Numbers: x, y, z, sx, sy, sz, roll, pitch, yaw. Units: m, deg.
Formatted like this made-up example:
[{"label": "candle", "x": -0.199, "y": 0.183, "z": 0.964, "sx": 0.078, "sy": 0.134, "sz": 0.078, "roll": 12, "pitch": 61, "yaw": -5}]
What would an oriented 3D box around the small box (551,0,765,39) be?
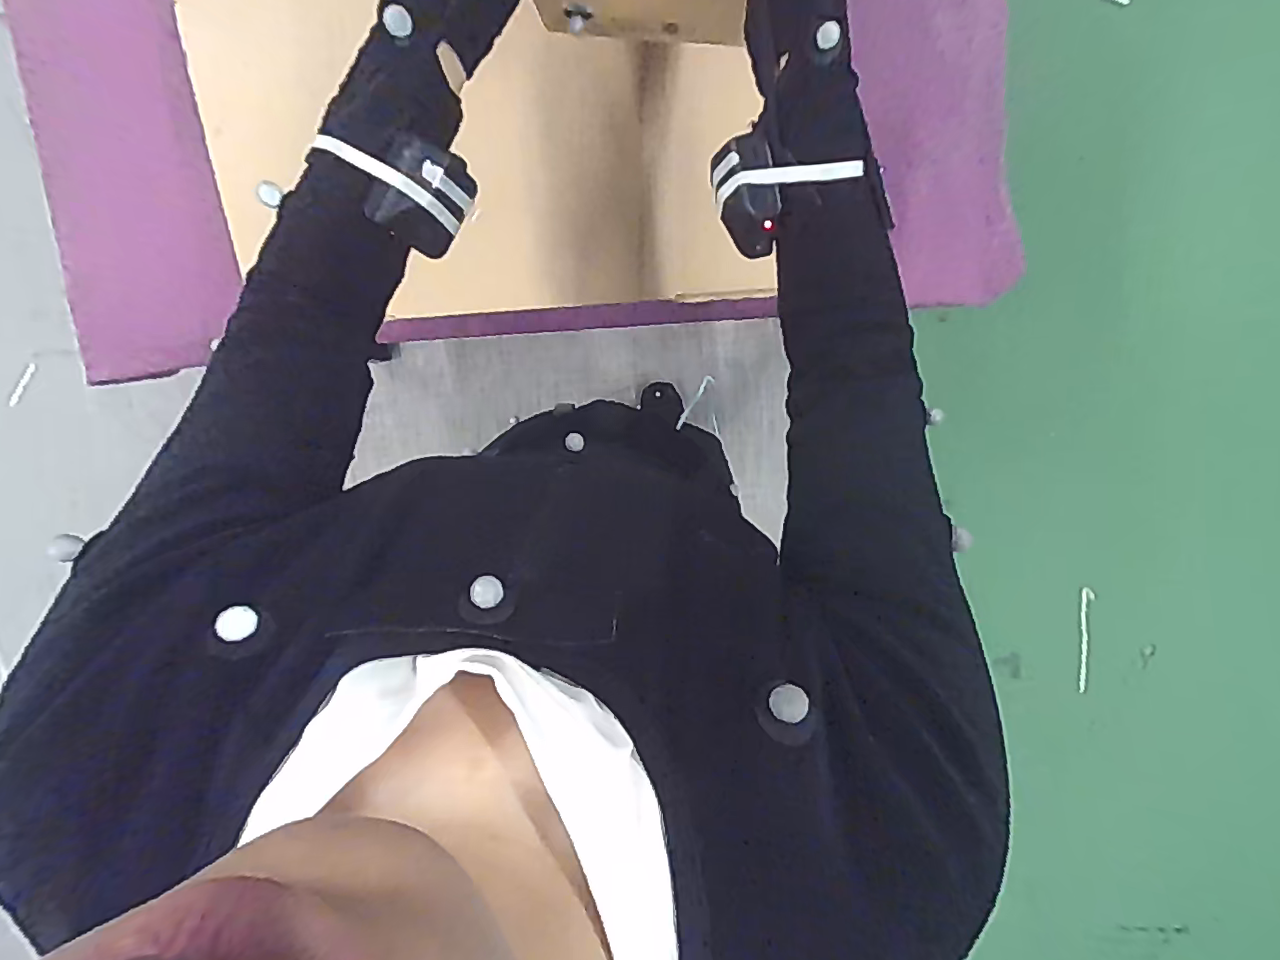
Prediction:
[{"label": "small box", "x": 0.012, "y": -0.418, "z": 0.339, "sx": 0.168, "sy": 0.176, "sz": 0.179, "roll": 5, "pitch": 104, "yaw": 4}]
